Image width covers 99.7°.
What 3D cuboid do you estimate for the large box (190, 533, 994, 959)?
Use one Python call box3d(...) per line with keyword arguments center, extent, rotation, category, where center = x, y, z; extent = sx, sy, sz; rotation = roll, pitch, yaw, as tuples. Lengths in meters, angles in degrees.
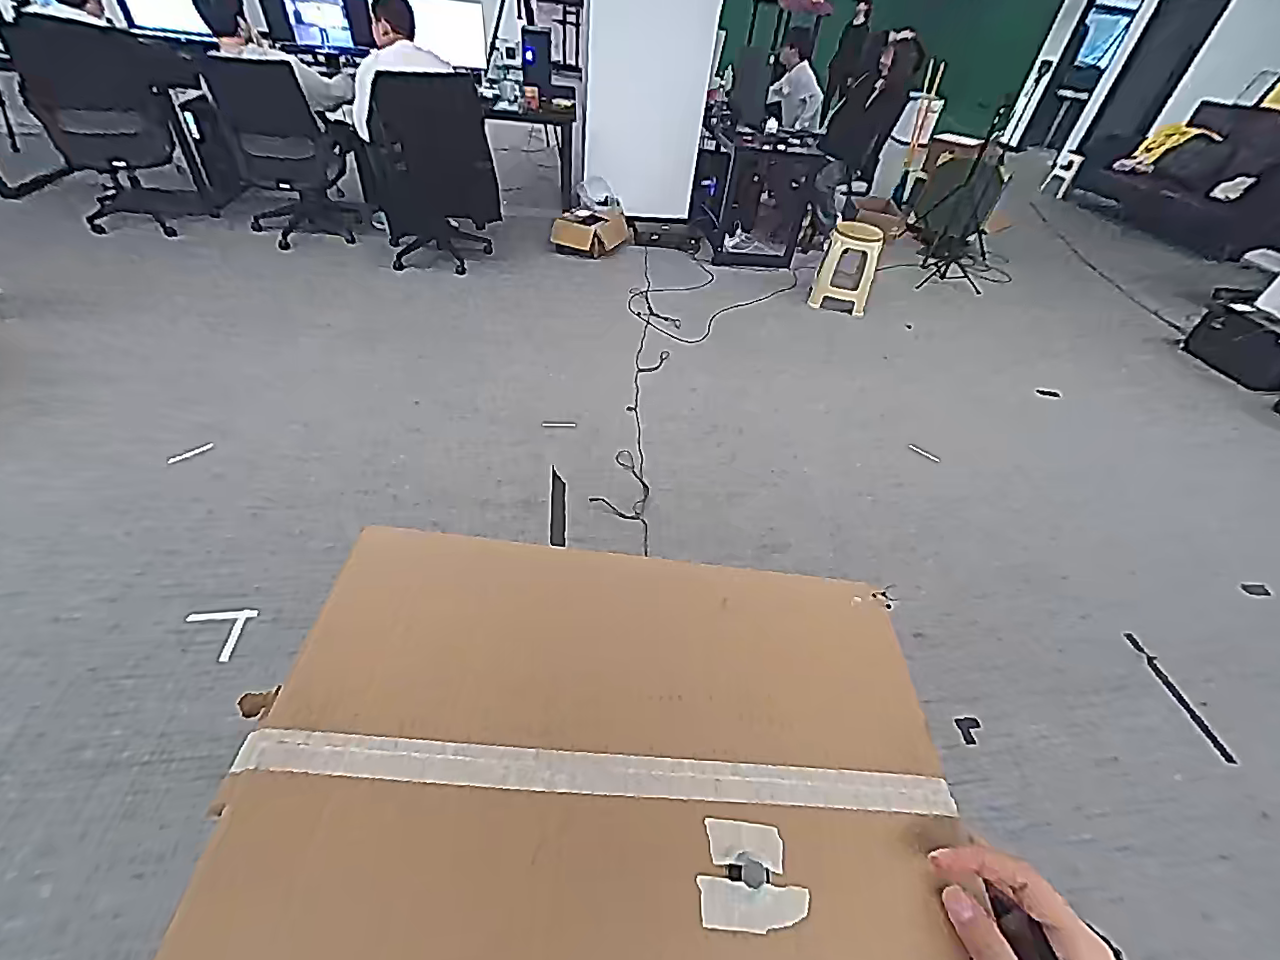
box3d(center=(-0.032, 0.275, 0.430), extent=(0.408, 0.320, 0.320), rotation=(8, 46, -7), category="large box")
